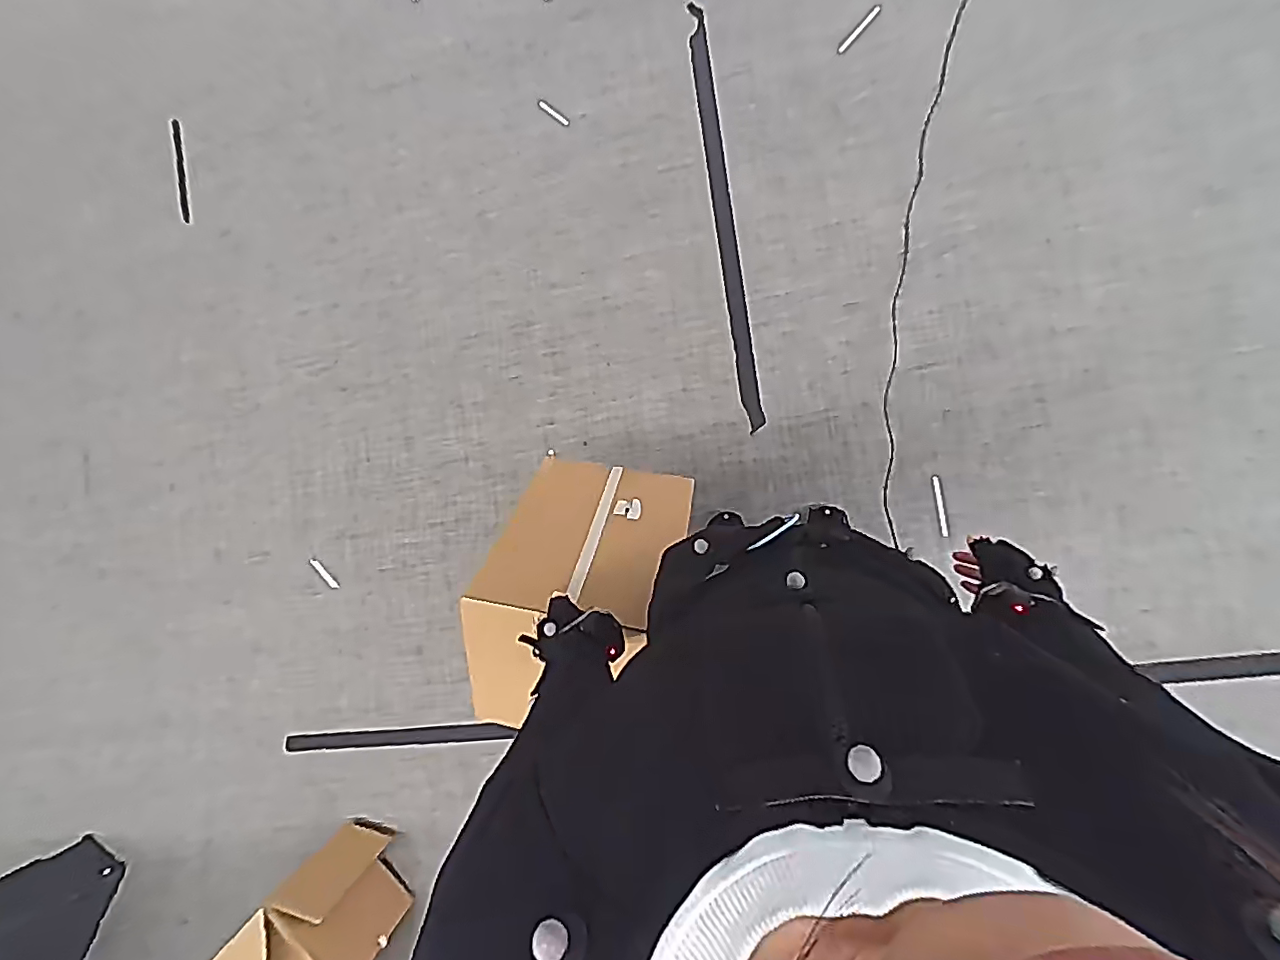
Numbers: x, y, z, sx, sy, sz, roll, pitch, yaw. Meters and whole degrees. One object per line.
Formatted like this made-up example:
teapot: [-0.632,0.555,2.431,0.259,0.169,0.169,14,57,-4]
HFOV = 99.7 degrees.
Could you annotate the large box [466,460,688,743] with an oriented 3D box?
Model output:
large box: [-0.094,0.211,1.030,0.320,0.408,0.320,10,124,5]
